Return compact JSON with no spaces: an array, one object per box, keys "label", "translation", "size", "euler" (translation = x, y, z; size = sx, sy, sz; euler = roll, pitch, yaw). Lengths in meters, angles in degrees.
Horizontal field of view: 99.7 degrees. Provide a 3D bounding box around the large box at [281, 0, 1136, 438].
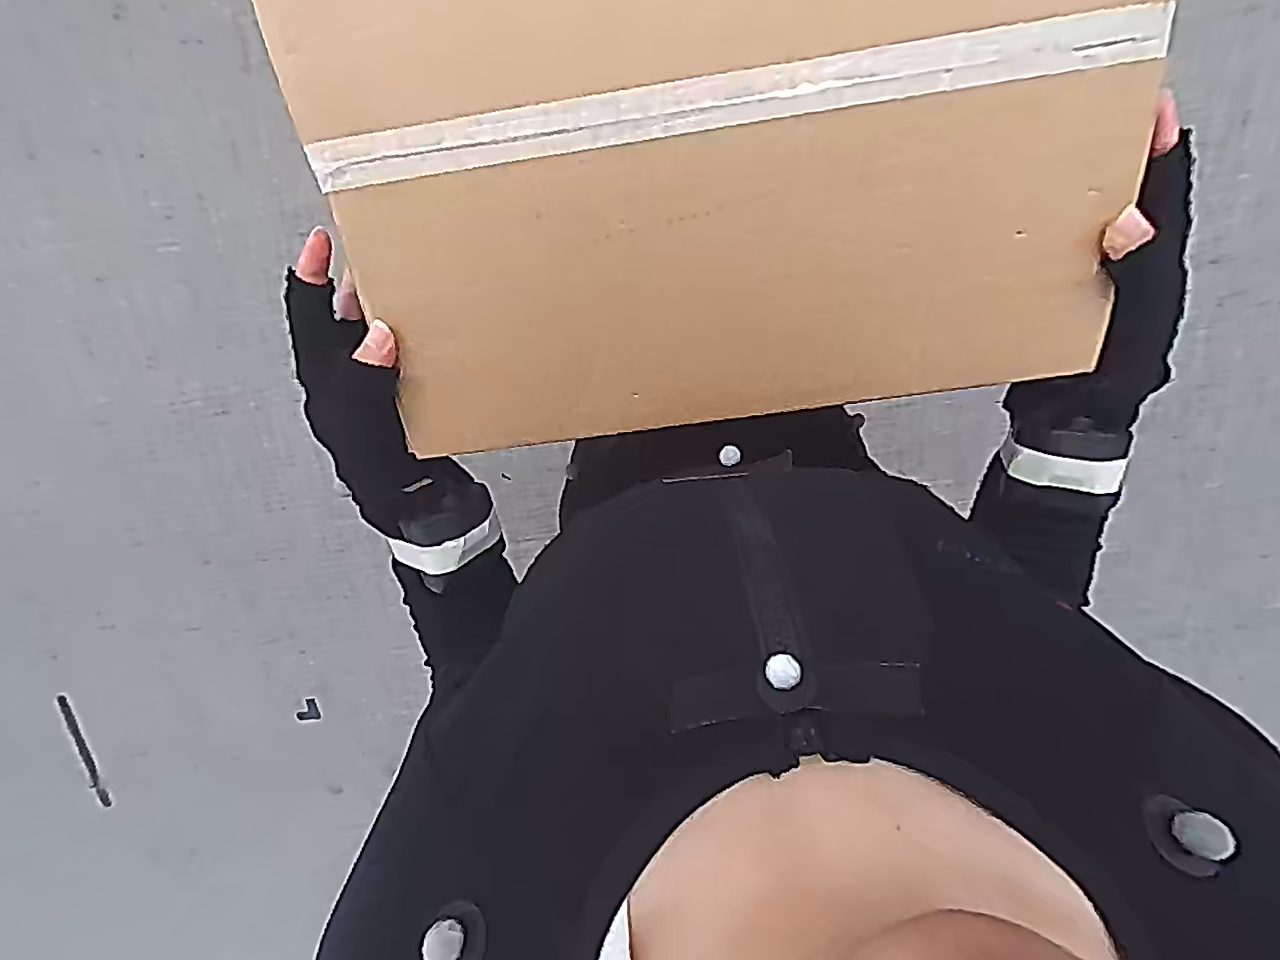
[{"label":"large box","translation":[0.035,-0.251,0.404],"size":[0.408,0.320,0.320],"euler":[-8,115,3]}]
